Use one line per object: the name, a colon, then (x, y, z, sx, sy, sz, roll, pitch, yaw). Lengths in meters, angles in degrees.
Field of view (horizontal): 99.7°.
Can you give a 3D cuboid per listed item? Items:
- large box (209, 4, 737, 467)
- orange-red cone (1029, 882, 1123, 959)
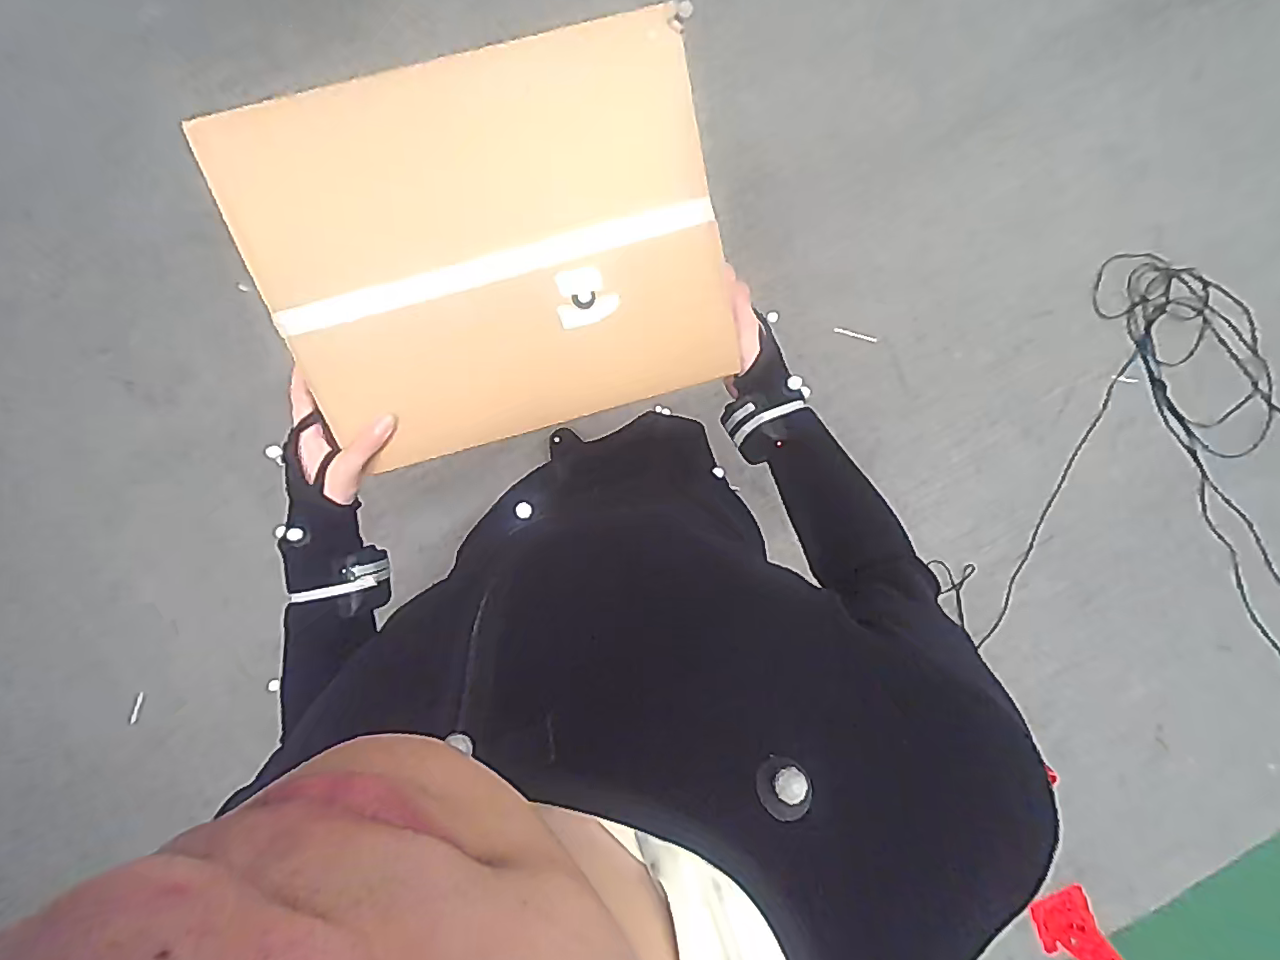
large box: (-0.148, -0.254, 0.636, 0.408, 0.320, 0.320, -17, 113, -3)
orange-red cone: (1.435, 1.483, 1.656, 0.199, 0.360, 0.198, -22, 96, -4)
